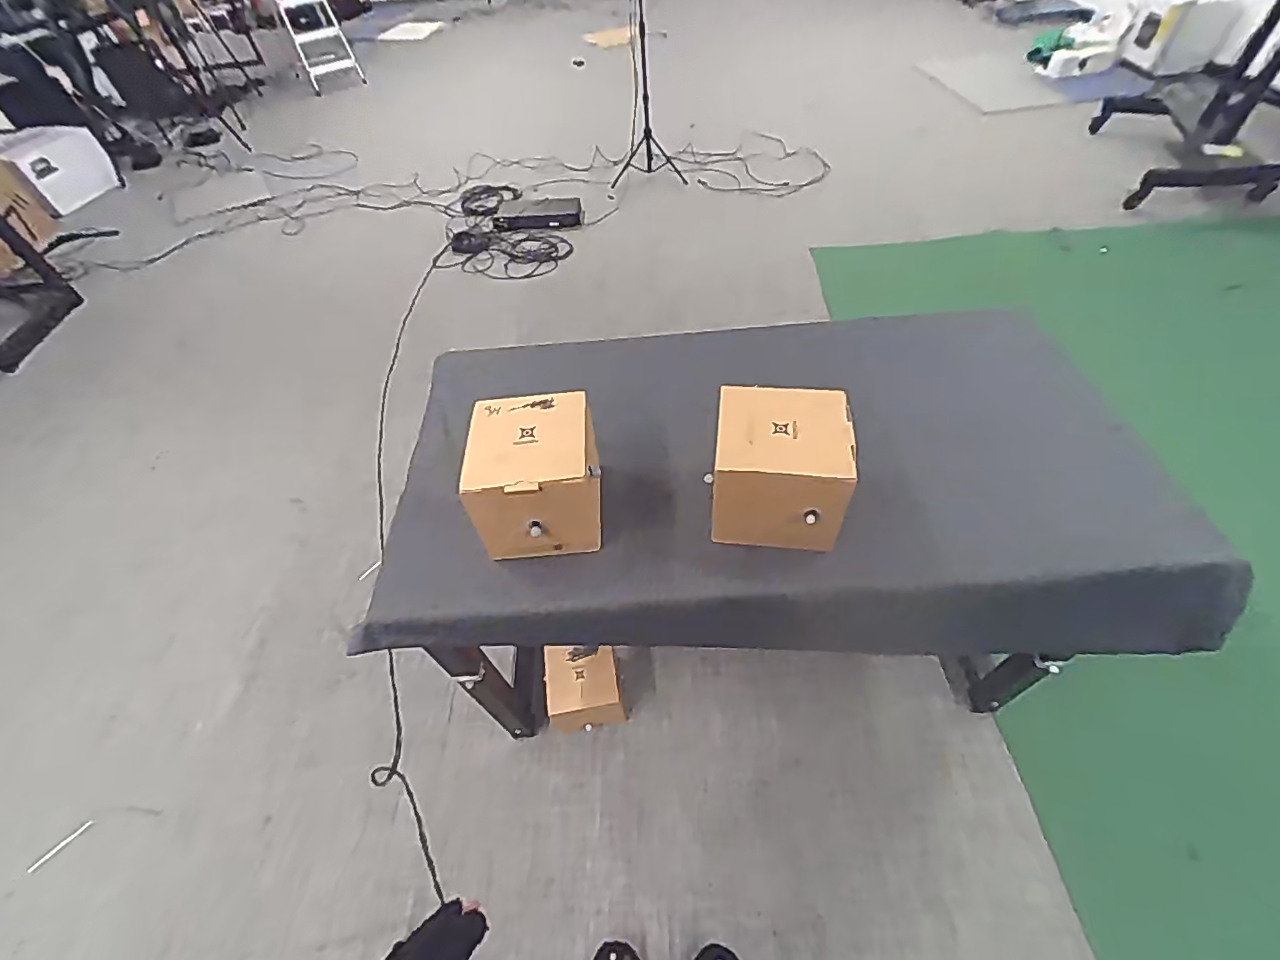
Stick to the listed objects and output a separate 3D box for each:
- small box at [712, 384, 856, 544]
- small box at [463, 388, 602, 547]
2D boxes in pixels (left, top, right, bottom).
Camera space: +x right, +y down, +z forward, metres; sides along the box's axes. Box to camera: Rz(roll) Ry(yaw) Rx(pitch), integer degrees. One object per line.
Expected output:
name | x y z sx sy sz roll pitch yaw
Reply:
small box | 0.199 -0.020 0.789 0.179 0.176 0.168 3 50 8
small box | -0.148 -0.011 0.807 0.168 0.176 0.179 -5 50 0
